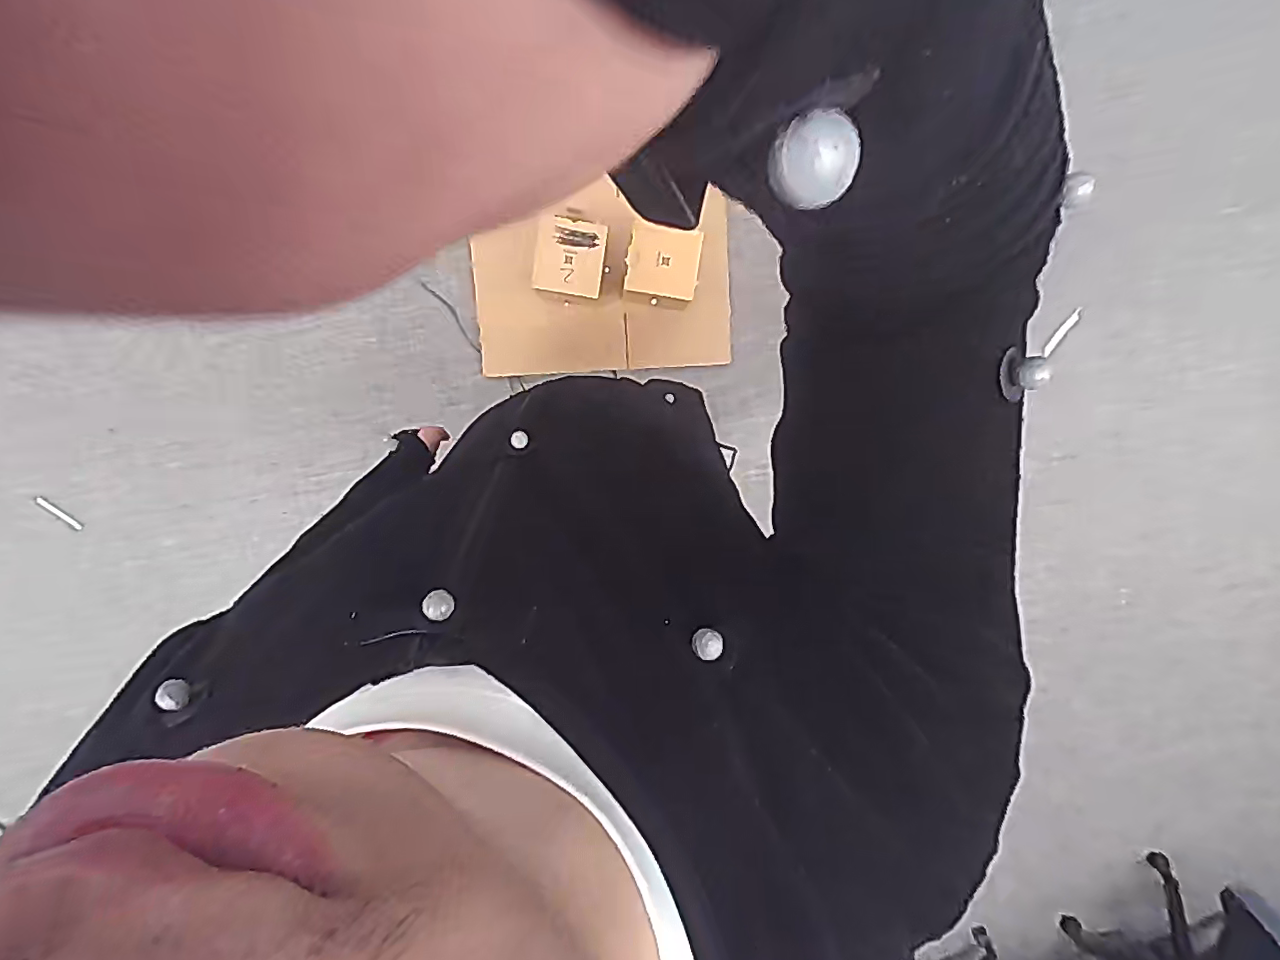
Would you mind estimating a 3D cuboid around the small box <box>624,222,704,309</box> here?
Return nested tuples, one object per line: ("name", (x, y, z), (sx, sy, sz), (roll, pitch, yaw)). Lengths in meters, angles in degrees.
("small box", (0.057, -0.552, 1.414), (0.179, 0.176, 0.168), (9, 99, -3))
